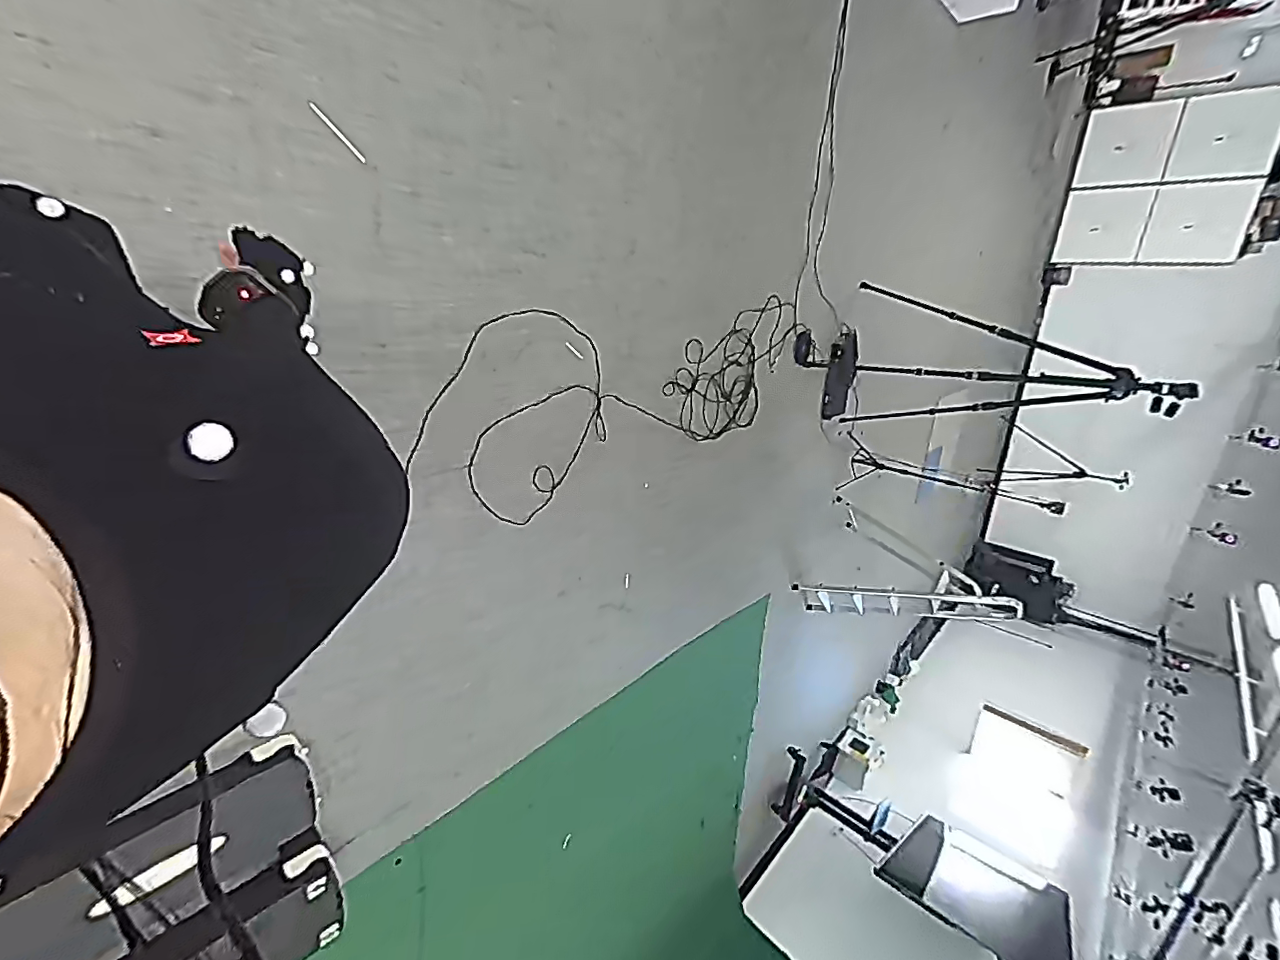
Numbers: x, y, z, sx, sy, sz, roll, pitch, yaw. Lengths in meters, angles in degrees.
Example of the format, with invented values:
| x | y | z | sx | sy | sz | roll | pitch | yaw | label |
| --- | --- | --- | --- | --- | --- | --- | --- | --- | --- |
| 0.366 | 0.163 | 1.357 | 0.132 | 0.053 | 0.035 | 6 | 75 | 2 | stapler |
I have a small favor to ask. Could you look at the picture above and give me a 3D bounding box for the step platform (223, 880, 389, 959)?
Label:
| x | y | z | sx | sy | sz | roll | pitch | yaw | label |
| --- | --- | --- | --- | --- | --- | --- | --- | --- | --- |
| -0.989 | 1.335 | 1.294 | 0.684 | 0.204 | 0.286 | -20 | 118 | -45 | step platform |
